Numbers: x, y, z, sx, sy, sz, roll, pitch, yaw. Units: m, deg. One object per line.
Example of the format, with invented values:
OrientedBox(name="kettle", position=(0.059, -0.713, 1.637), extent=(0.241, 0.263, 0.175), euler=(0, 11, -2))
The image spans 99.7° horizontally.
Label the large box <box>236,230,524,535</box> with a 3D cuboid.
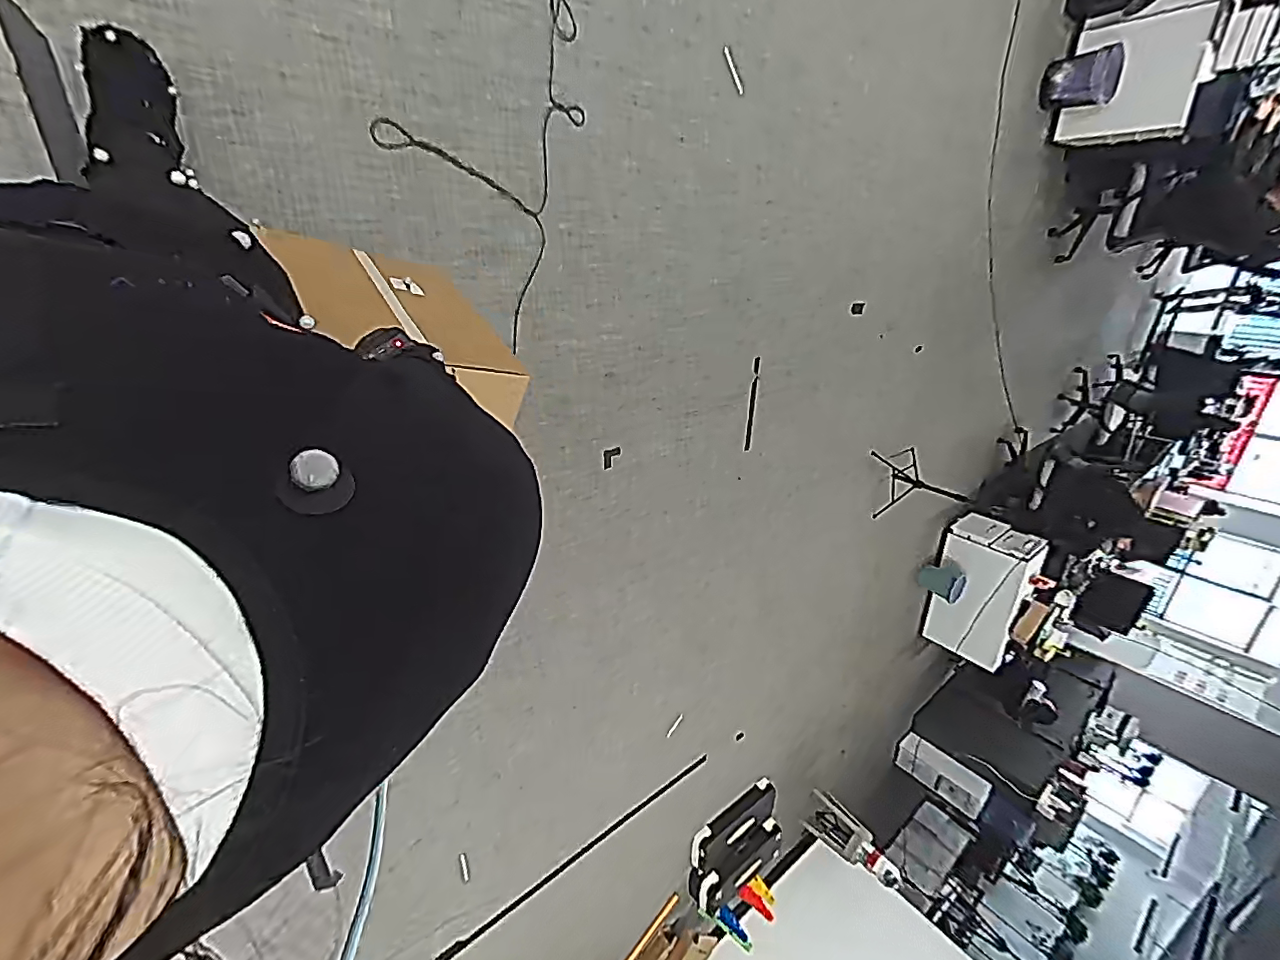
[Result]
OrientedBox(name="large box", position=(-0.457, -0.161, 0.909), extent=(0.320, 0.408, 0.320), euler=(-2, 128, -44))
